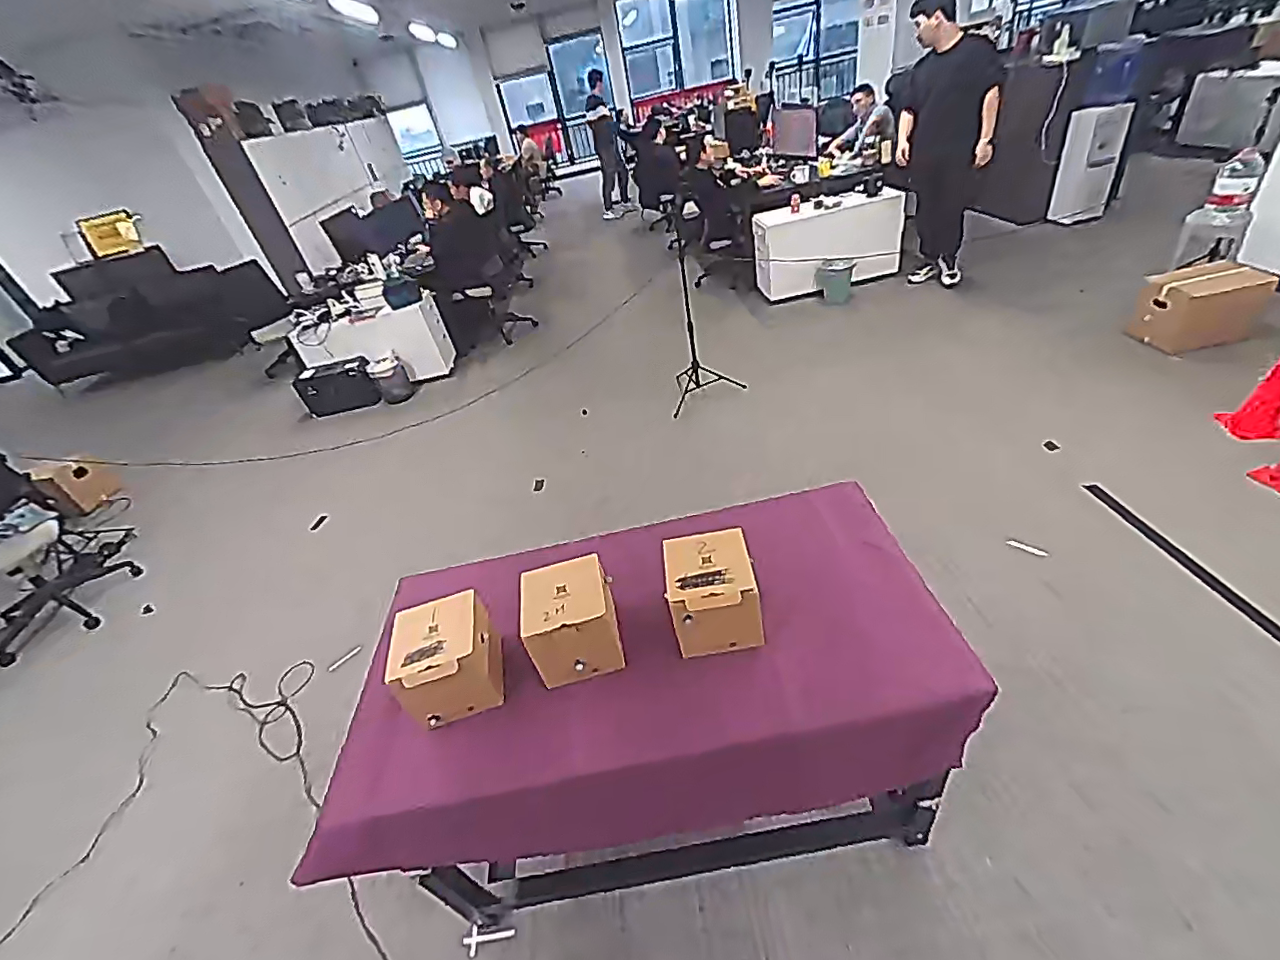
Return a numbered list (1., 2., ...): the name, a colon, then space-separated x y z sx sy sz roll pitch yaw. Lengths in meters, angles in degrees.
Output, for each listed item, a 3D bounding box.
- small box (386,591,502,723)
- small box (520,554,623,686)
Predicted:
1. small box: -0.386 0.362 1.094 0.168 0.176 0.179 -17 36 -5
2. small box: -0.141 0.287 1.112 0.168 0.176 0.179 -16 37 -1
